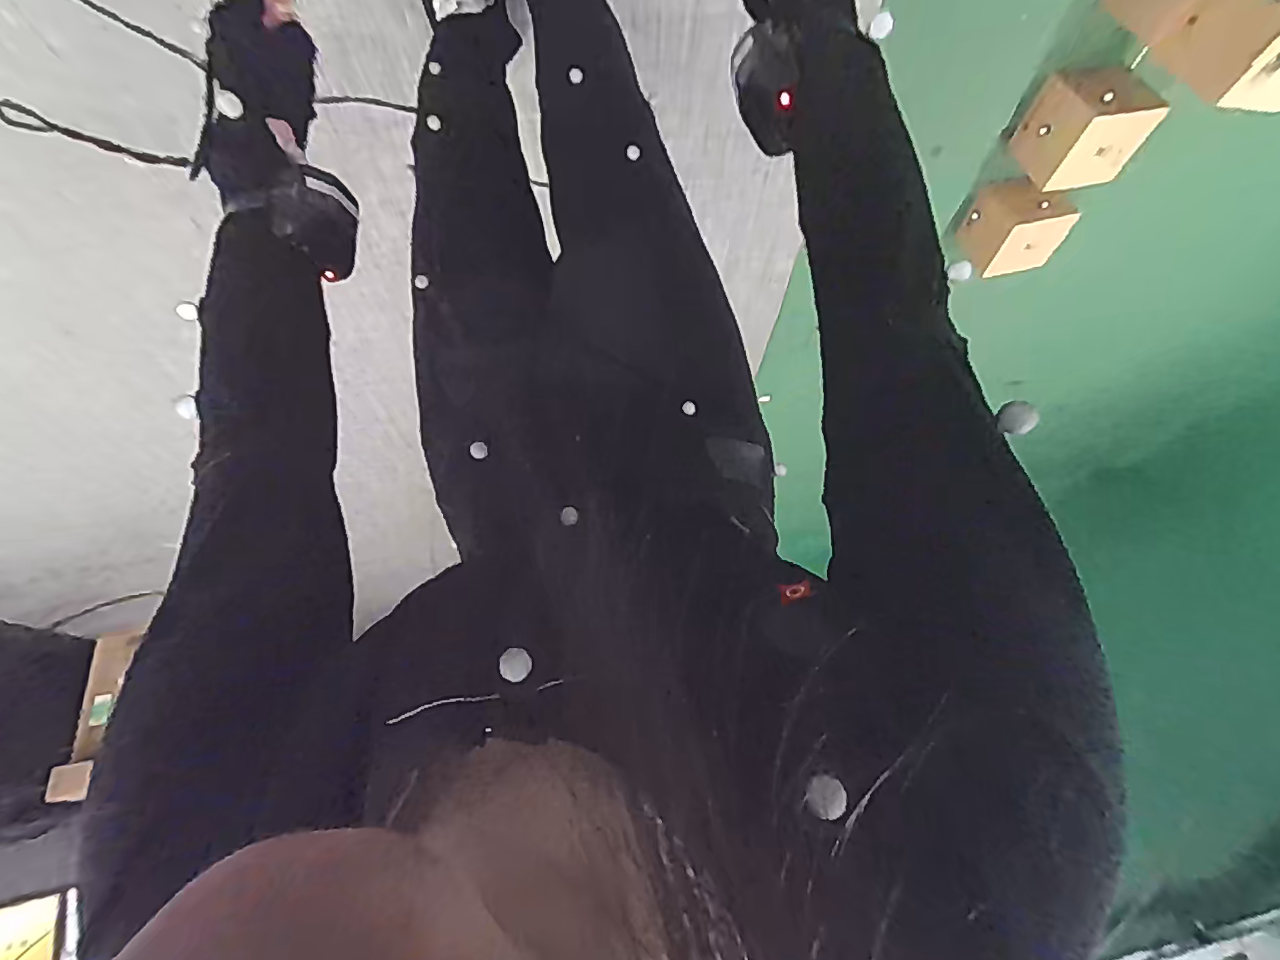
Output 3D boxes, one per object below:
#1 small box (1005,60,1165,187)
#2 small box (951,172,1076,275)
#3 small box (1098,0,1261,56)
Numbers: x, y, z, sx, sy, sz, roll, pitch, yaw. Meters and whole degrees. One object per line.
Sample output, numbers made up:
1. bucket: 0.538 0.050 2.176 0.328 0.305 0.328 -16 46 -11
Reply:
1. small box: 0.958 -0.780 1.186 0.179 0.176 0.168 -12 155 -6
2. small box: 0.961 -0.673 1.410 0.179 0.176 0.168 -12 154 -3
3. small box: 0.985 -0.899 0.958 0.179 0.176 0.168 -4 152 -16
